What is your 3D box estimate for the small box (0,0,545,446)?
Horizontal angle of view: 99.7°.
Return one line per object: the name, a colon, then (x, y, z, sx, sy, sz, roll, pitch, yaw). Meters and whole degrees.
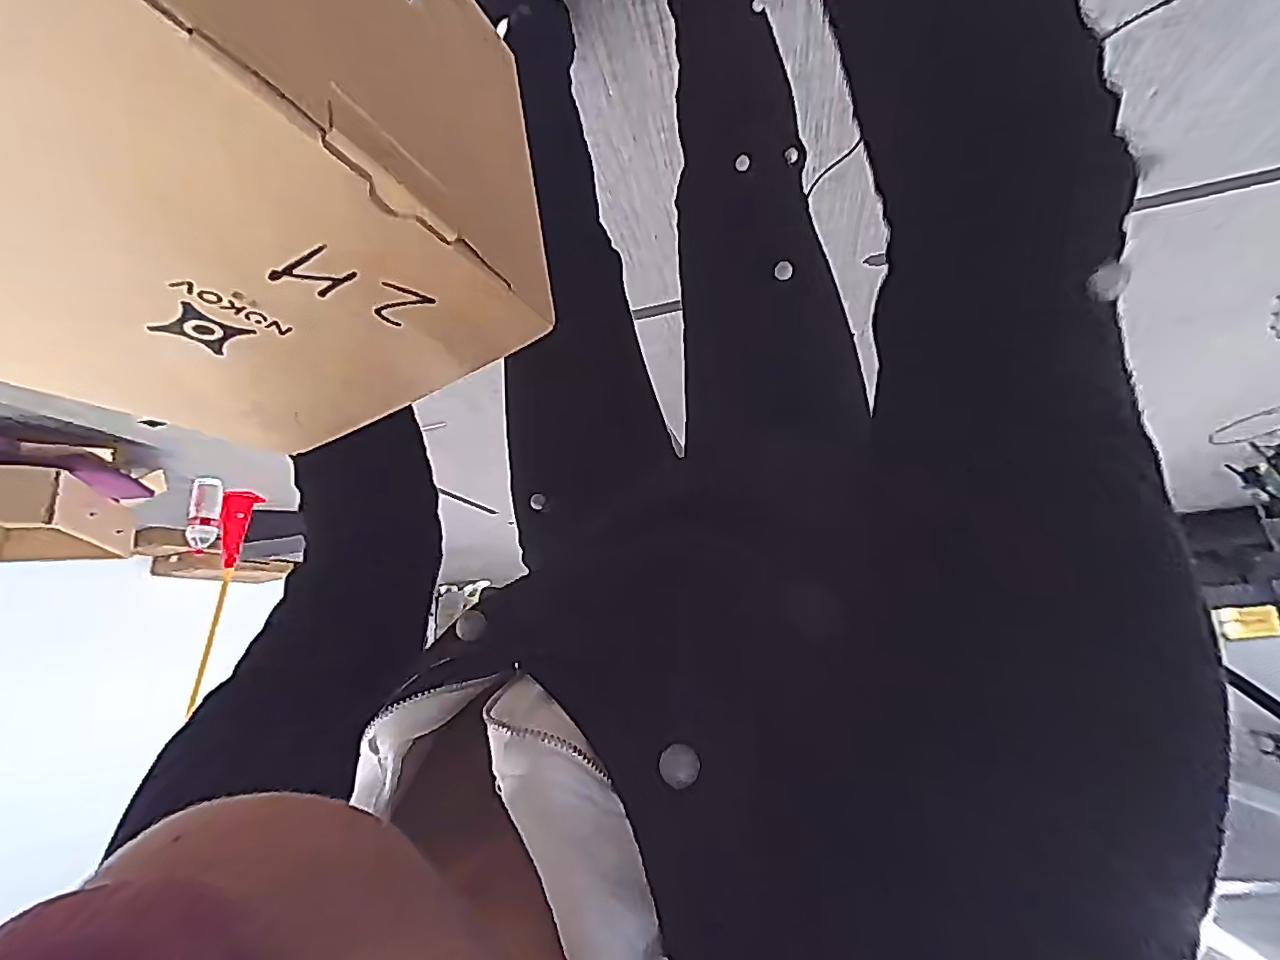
small box: (-0.162, -0.137, 0.218, 0.179, 0.176, 0.168, -19, 160, 21)
